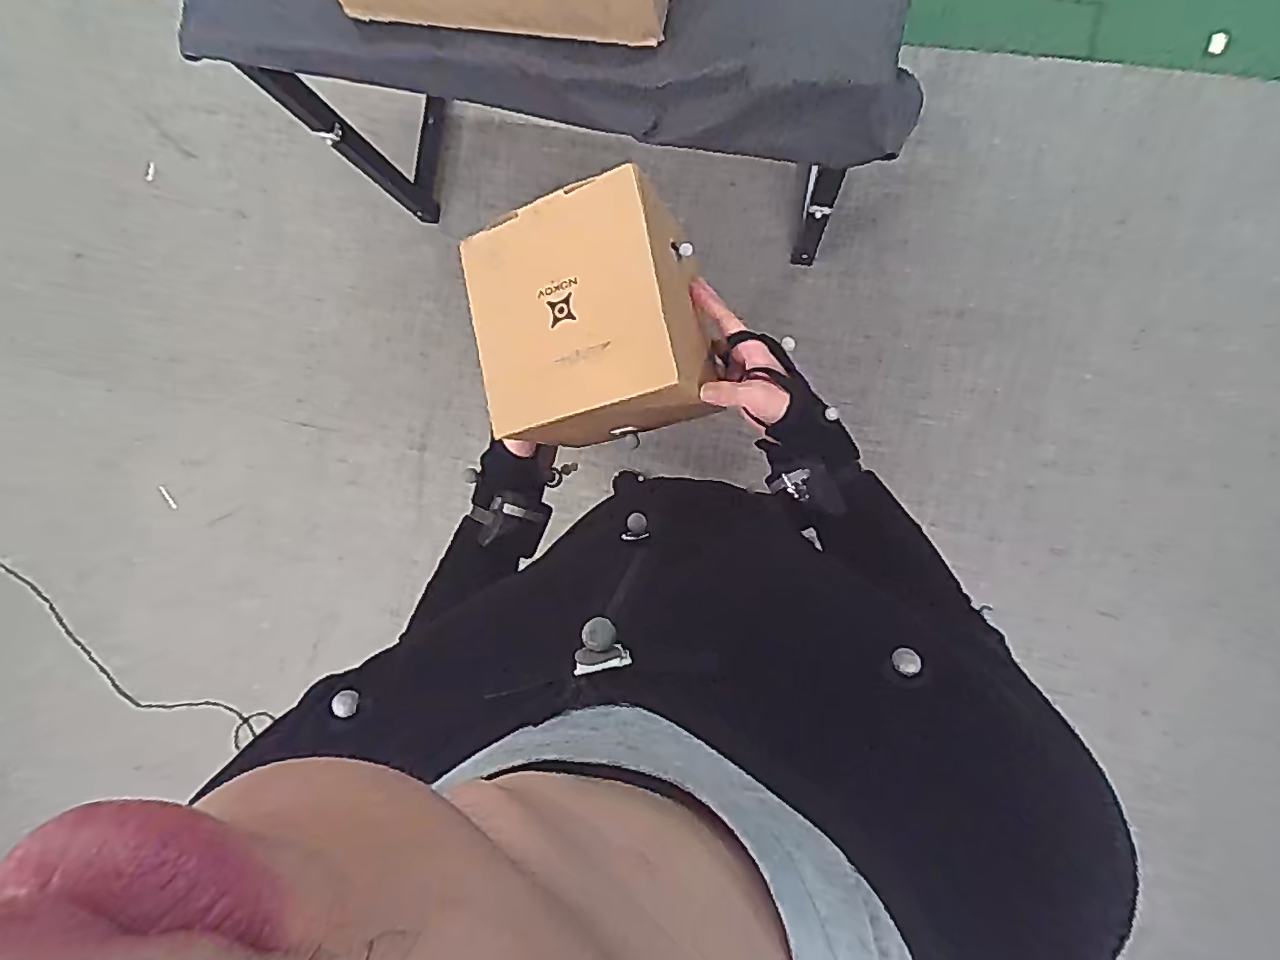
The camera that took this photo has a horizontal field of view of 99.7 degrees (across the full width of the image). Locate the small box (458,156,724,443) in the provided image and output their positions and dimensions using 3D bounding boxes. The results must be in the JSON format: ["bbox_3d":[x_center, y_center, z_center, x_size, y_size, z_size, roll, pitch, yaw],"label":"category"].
[{"bbox_3d":[-0.033,-0.140,0.494,0.168,0.176,0.179,-14,86,21],"label":"small box"}]
